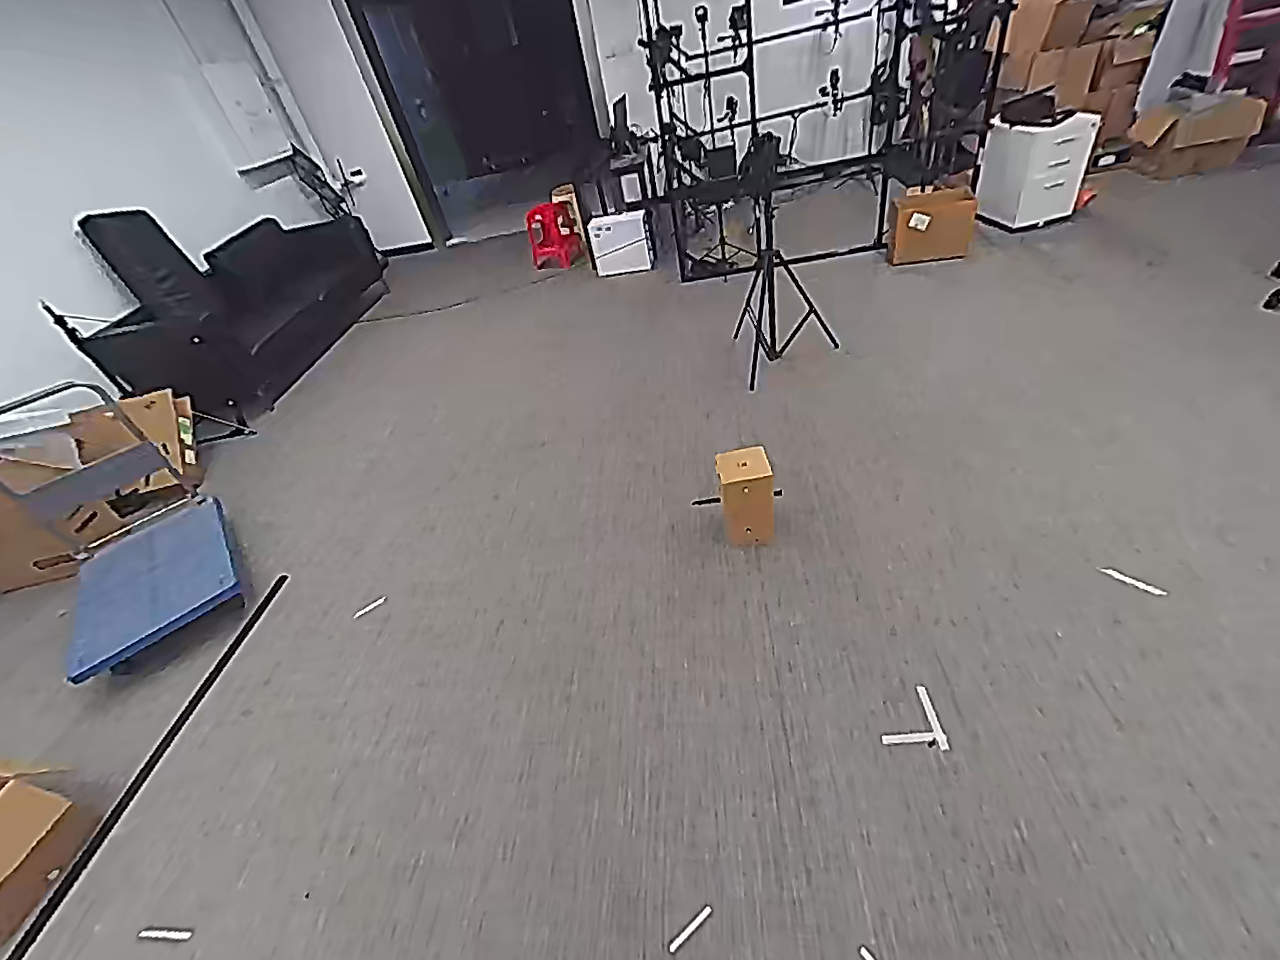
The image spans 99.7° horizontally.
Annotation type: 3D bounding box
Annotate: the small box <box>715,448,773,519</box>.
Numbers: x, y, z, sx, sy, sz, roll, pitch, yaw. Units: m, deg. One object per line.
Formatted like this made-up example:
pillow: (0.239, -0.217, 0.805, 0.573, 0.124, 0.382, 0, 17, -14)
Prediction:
small box: (0.370, 0.014, 1.915, 0.179, 0.176, 0.168, -11, 40, 6)

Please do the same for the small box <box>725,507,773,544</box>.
small box: (0.407, 0.129, 2.024, 0.168, 0.176, 0.179, -4, 40, 11)
